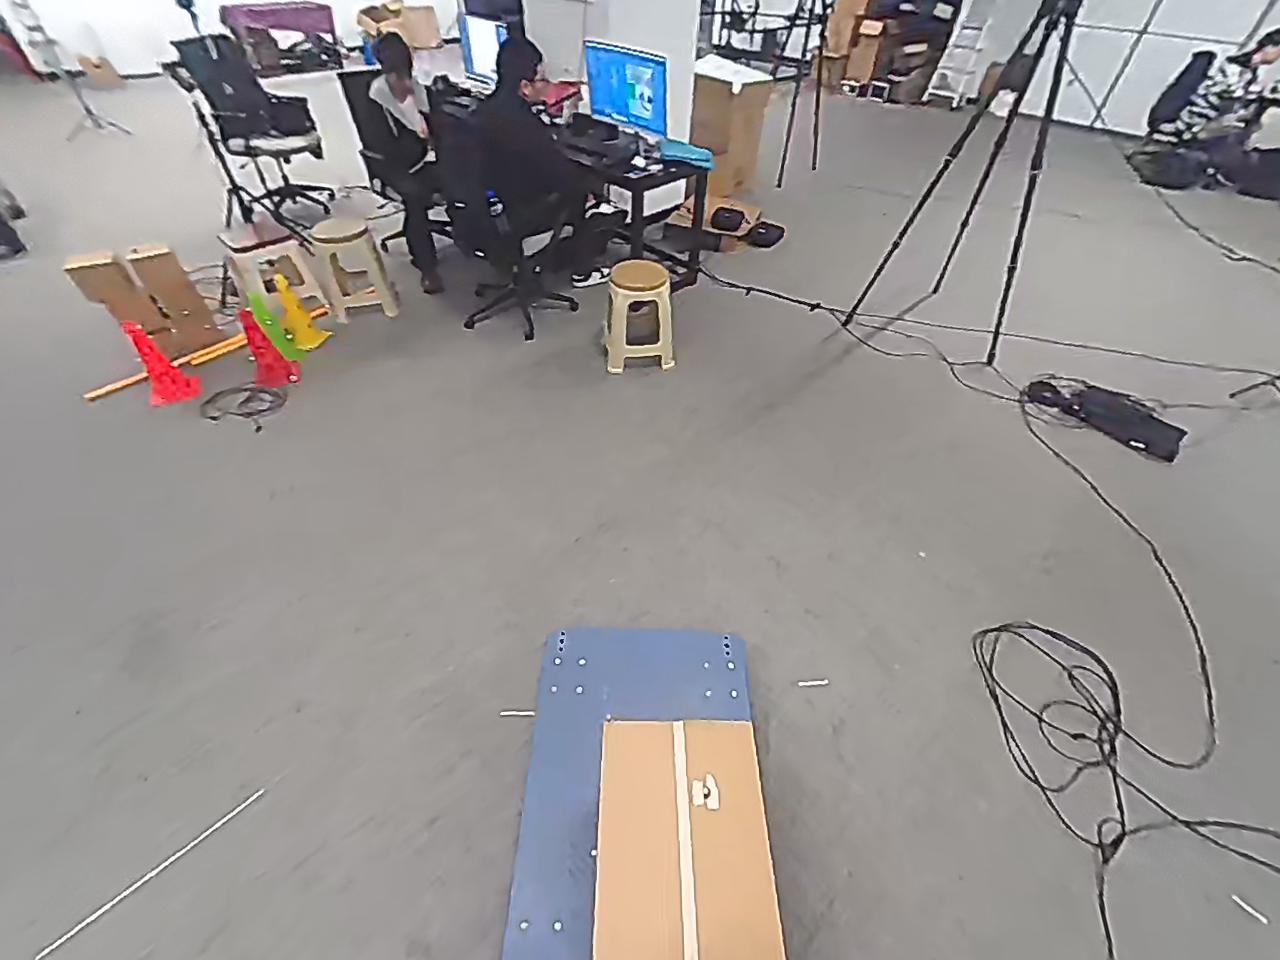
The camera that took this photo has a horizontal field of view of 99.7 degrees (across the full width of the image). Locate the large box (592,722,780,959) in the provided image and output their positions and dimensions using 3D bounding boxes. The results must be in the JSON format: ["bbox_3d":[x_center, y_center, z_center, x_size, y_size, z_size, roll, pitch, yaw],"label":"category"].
[{"bbox_3d":[0.070,0.762,1.112,0.320,0.320,0.408,1,45,-2],"label":"large box"}]
